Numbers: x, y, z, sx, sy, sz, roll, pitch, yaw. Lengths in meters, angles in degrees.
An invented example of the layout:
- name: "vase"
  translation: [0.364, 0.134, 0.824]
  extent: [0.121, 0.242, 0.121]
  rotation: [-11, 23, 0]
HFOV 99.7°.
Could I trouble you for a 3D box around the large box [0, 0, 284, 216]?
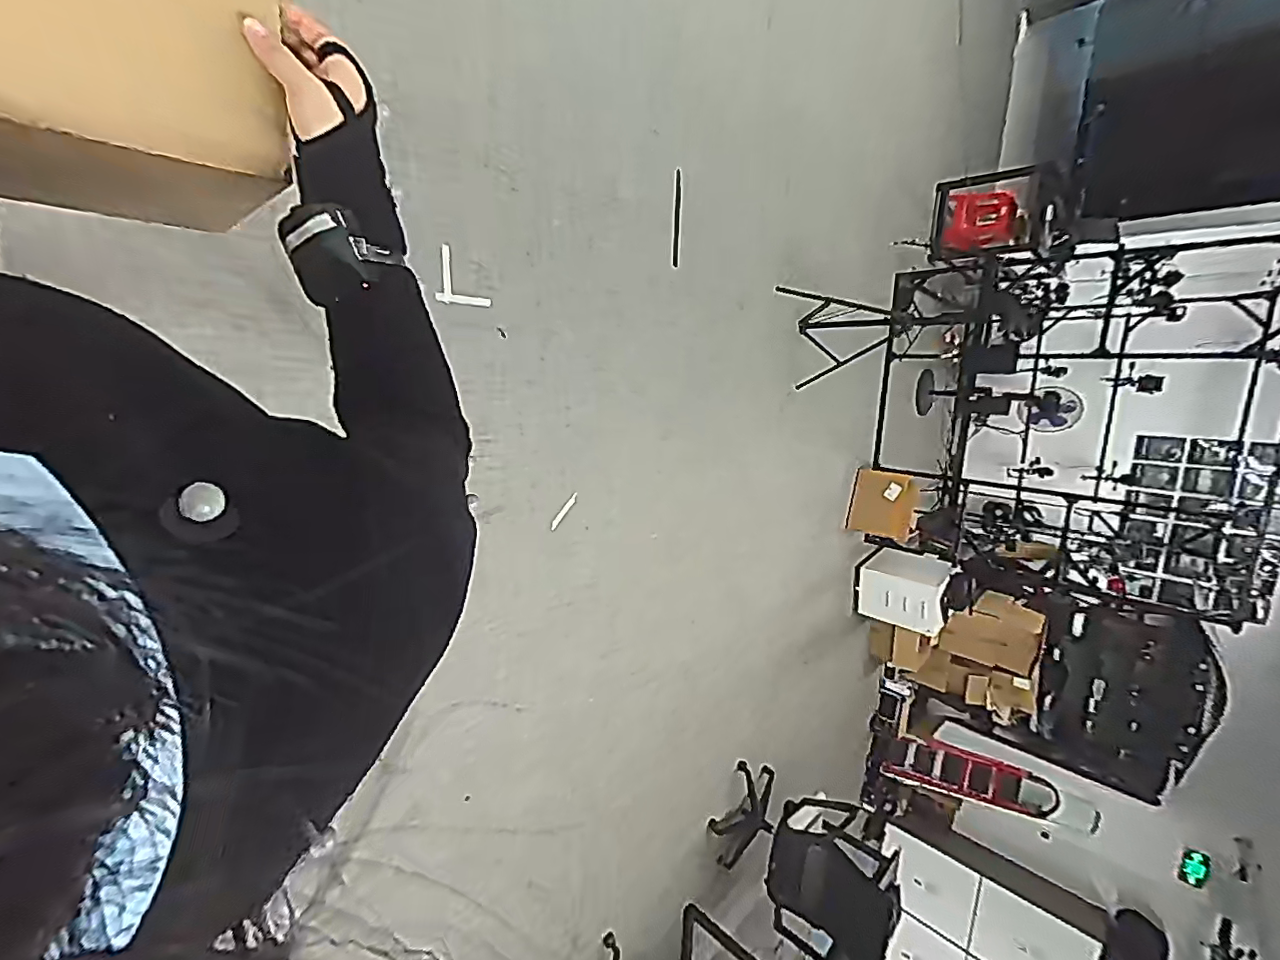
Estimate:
- name: "large box"
  translation: [-0.525, -0.400, 0.370]
  extent: [0.408, 0.320, 0.320]
  rotation: [-10, 107, -44]
